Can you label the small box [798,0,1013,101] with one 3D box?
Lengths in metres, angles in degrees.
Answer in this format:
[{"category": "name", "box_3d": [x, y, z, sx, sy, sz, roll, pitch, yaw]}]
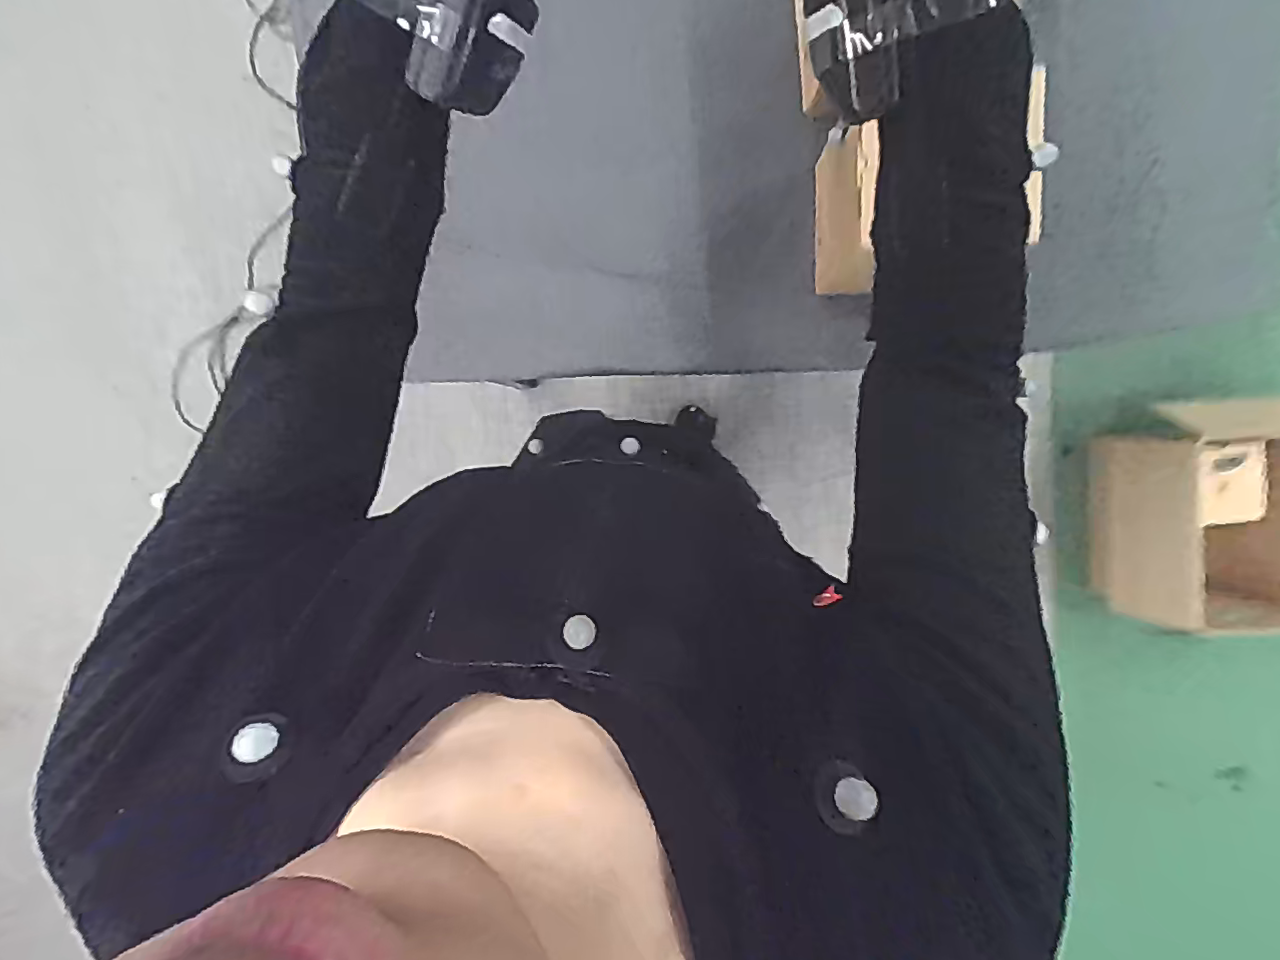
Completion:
[{"category": "small box", "box_3d": [0.277, -0.549, 0.579, 0.179, 0.176, 0.168, -6, 96, 6]}]
